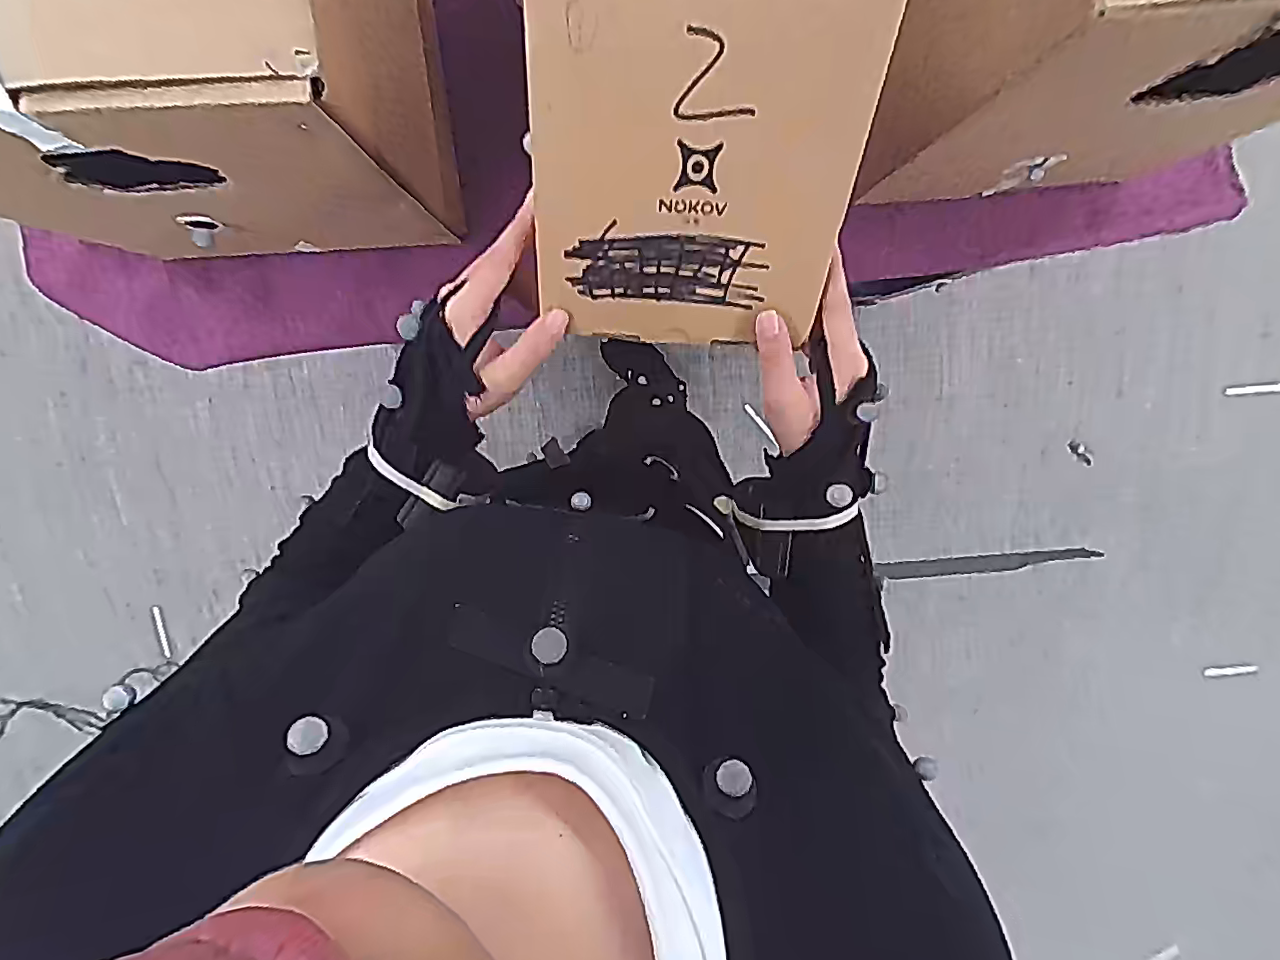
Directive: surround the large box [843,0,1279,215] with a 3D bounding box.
[{"bbox_3d":[0.358,-0.468,0.402,0.320,0.320,0.408,-6,99,-2],"label":"large box"}]
